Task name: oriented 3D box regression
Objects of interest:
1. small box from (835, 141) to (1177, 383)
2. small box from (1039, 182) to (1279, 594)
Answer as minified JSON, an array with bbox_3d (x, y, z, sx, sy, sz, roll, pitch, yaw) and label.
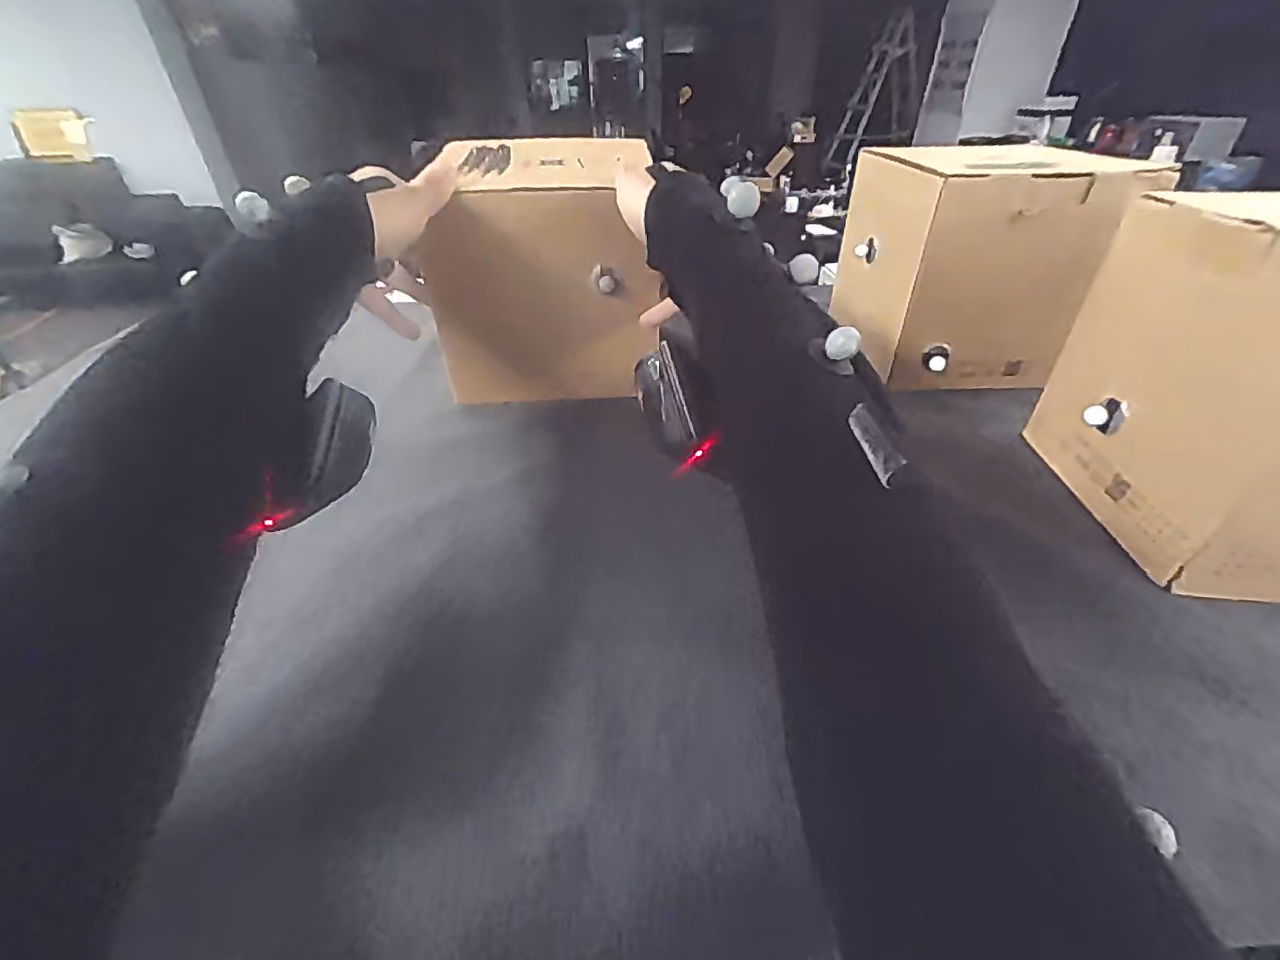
[{"bbox_3d":[0.293,-0.196,0.487,0.168,0.176,0.179,-1,36,0],"label":"small box"},{"bbox_3d":[0.367,-0.050,0.286,0.179,0.176,0.168,3,35,7],"label":"small box"}]
